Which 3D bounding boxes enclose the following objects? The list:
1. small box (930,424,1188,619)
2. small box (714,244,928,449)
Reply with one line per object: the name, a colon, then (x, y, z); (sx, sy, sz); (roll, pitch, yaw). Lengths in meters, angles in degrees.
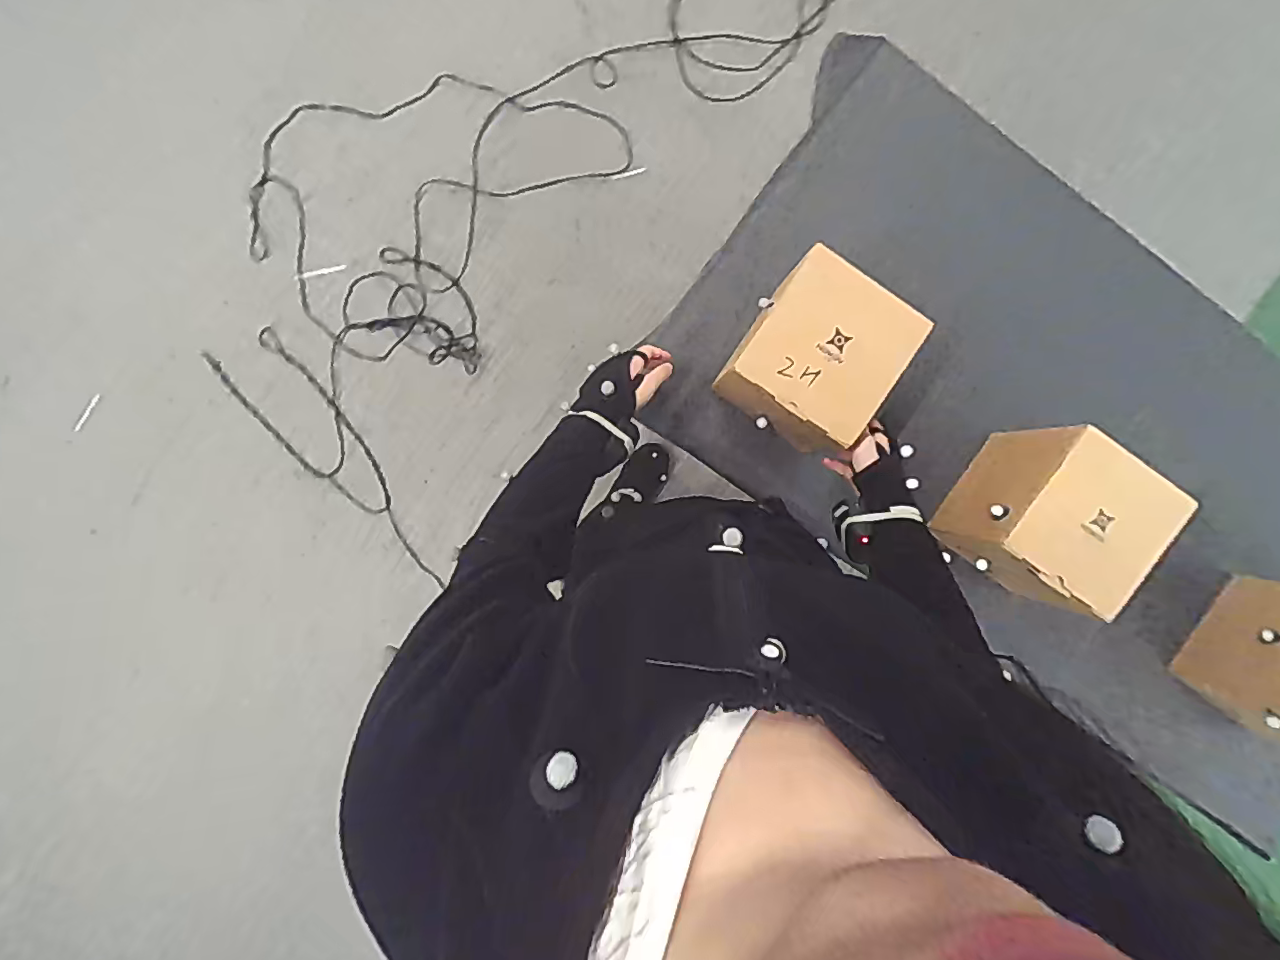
small box: (0.529, 0.046, 0.712); (0.168, 0.176, 0.179); (35, 91, -3)
small box: (0.213, -0.155, 0.693); (0.168, 0.176, 0.179); (34, 91, -3)
